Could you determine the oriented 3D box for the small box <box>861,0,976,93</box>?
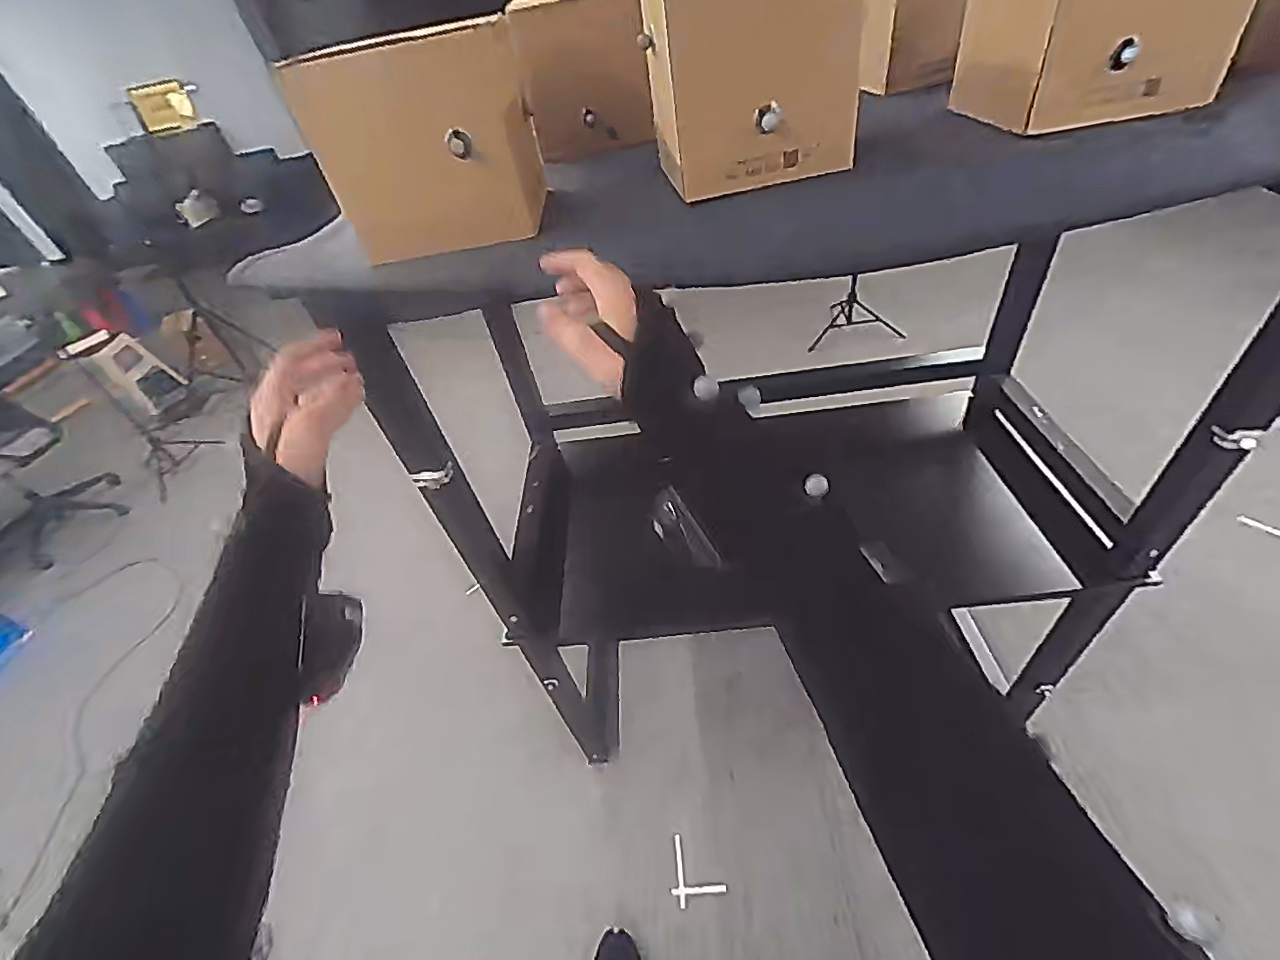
[{"bbox_3d":[0.380,-0.650,0.739,0.168,0.176,0.179,-14,43,-2],"label":"small box"}]

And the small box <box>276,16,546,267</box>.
[{"bbox_3d":[-0.200,-0.334,0.539,0.179,0.176,0.168,-8,43,3],"label":"small box"}]

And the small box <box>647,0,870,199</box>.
[{"bbox_3d":[0.104,-0.394,0.531,0.168,0.176,0.179,-11,41,2],"label":"small box"}]

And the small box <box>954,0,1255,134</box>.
[{"bbox_3d":[0.436,-0.452,0.520,0.168,0.176,0.179,-7,42,5],"label":"small box"}]
